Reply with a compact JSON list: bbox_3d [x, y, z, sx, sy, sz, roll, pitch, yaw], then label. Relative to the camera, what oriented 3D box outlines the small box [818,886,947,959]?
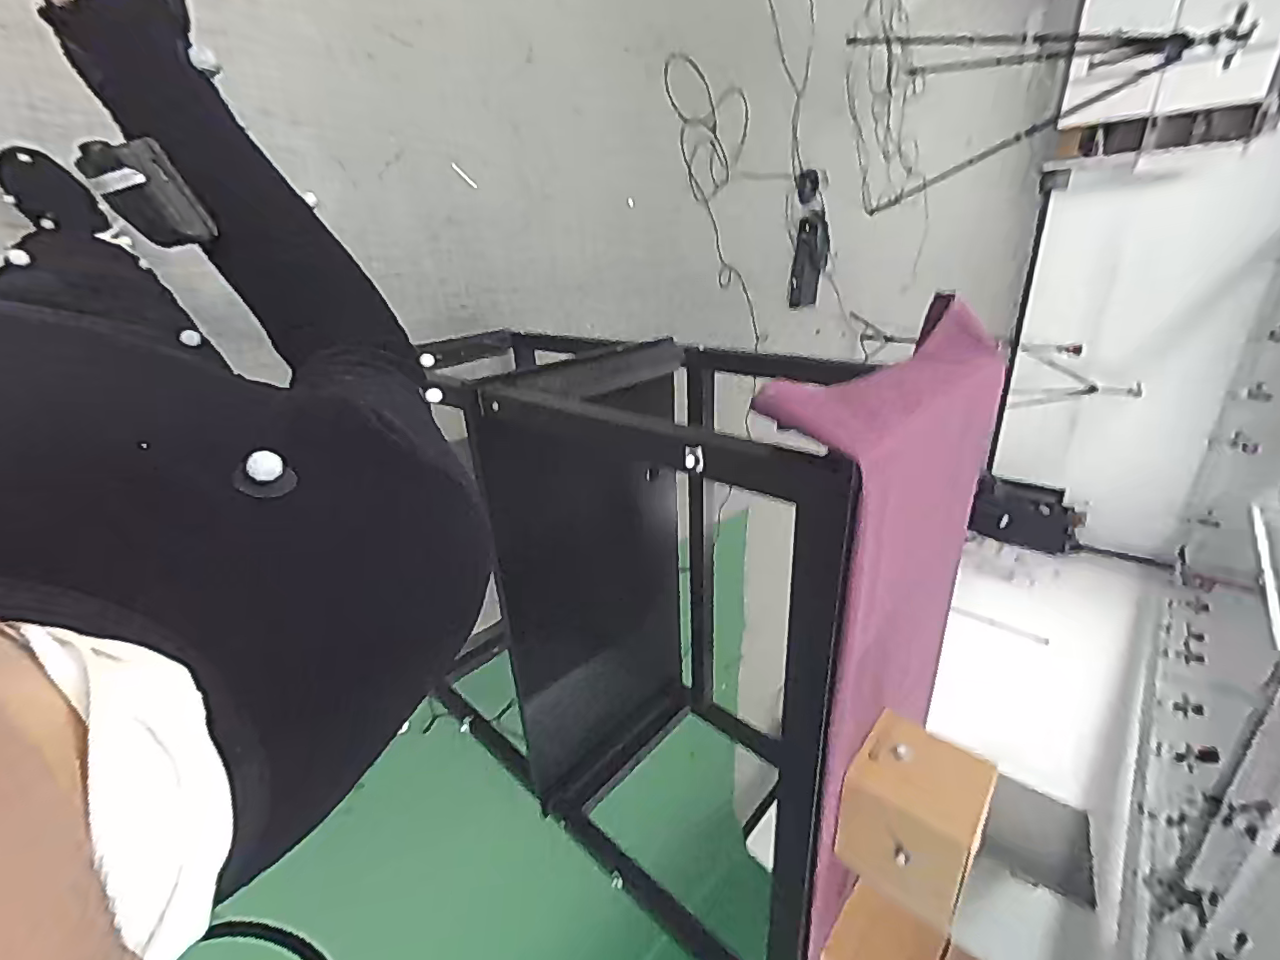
[{"bbox_3d":[0.430,0.904,0.984,0.179,0.176,0.168,-23,119,-41],"label":"small box"}]

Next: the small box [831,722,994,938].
[{"bbox_3d":[0.403,0.508,0.813,0.168,0.176,0.179,-24,119,-43],"label":"small box"}]
